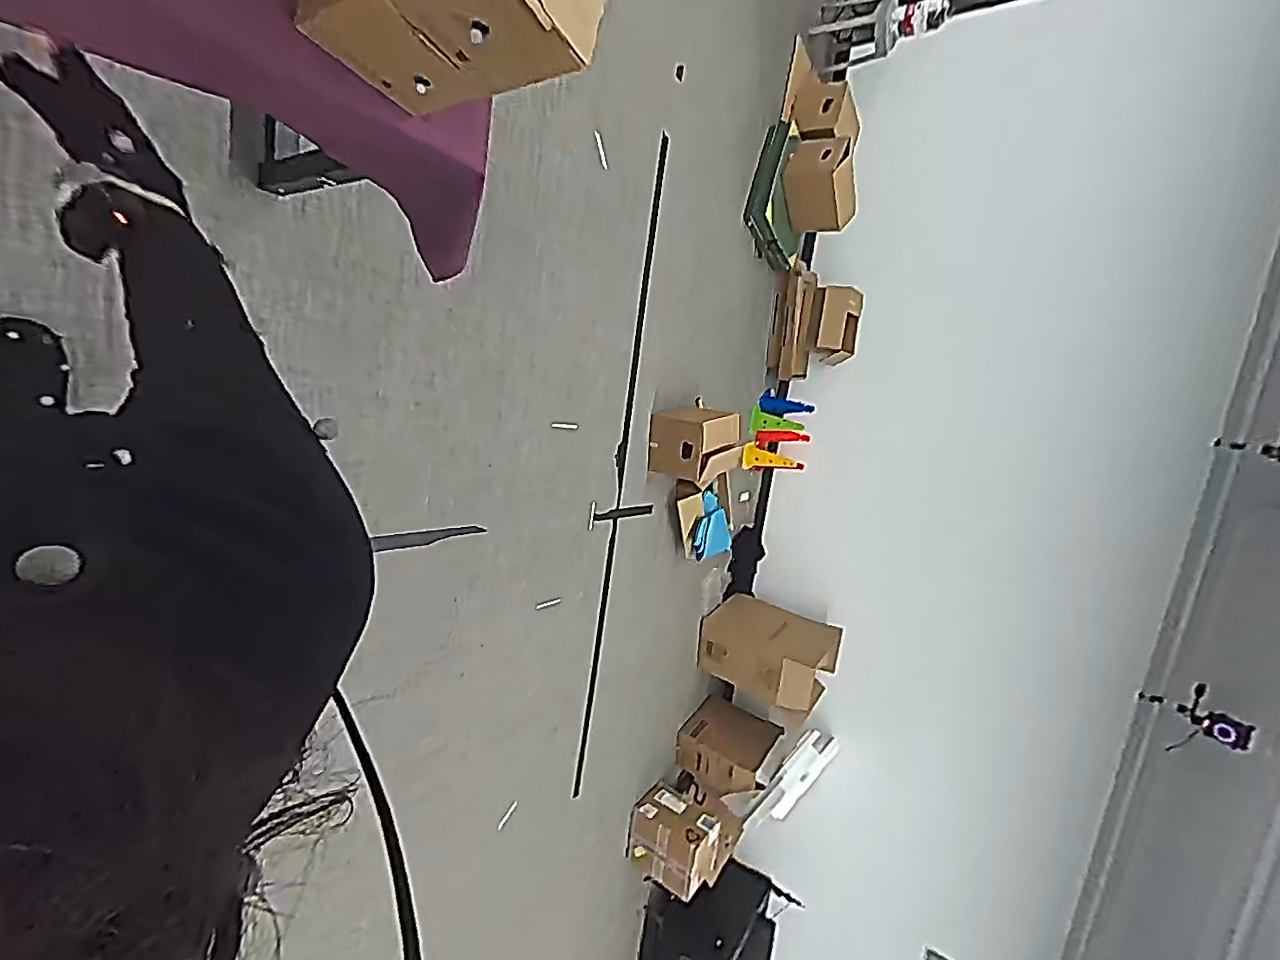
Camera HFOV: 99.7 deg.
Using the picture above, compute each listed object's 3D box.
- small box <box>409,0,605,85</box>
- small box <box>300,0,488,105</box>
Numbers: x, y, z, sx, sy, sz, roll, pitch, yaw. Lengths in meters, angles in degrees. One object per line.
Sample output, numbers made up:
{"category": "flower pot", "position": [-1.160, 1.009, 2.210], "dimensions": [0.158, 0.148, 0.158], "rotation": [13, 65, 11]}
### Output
{"category": "small box", "position": [-0.148, -0.578, 0.588], "dimensions": [0.168, 0.176, 0.179], "rotation": [18, 87, -59]}
{"category": "small box", "position": [-0.288, -0.608, 0.669], "dimensions": [0.168, 0.176, 0.179], "rotation": [10, 92, -59]}
